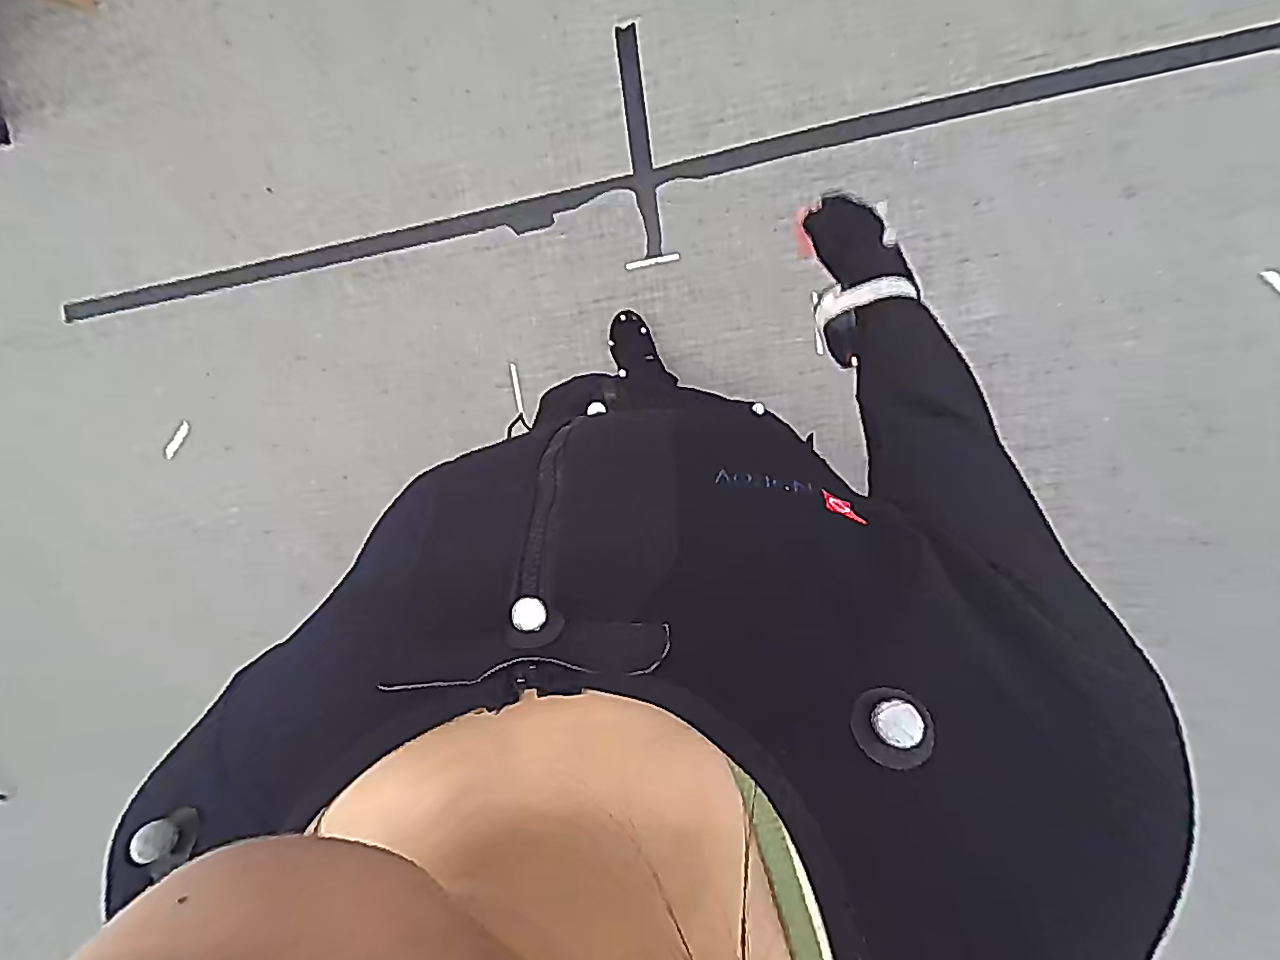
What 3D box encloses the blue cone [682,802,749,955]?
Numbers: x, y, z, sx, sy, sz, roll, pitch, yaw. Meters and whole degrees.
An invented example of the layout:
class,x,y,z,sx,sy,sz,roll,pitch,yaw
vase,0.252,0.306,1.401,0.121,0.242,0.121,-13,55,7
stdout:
class,x,y,z,sx,sy,sz,roll,pitch,yaw
blue cone,0.207,1.086,1.465,0.193,0.380,0.192,-4,101,9
